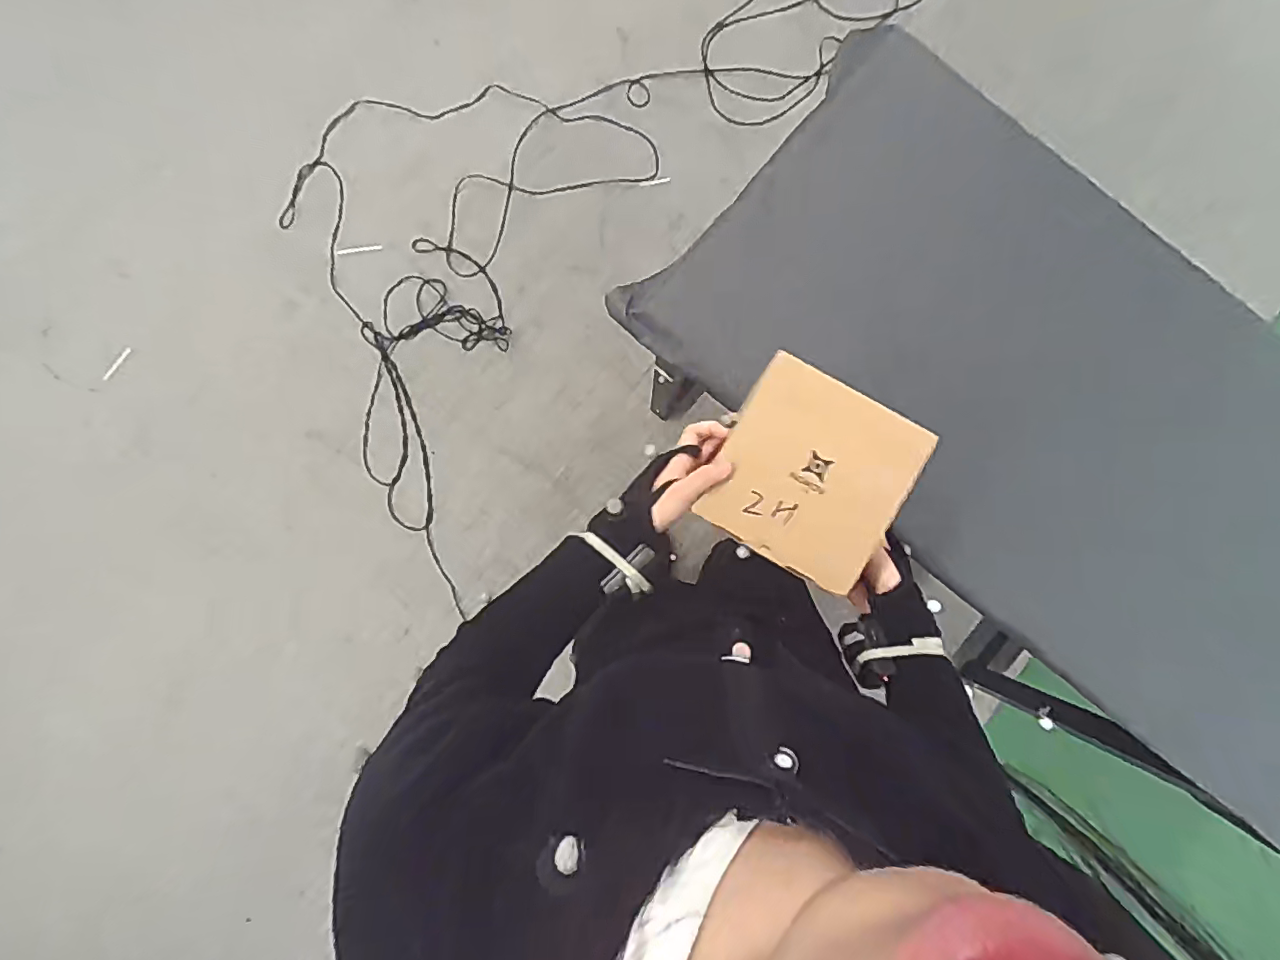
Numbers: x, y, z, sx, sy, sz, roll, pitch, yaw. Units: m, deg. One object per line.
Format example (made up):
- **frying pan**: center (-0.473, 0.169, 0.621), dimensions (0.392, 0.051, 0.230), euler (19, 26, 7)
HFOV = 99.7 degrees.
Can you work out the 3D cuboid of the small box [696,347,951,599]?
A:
- **small box**: center (0.170, -0.004, 0.567), dimensions (0.168, 0.176, 0.179), euler (32, 88, 3)
